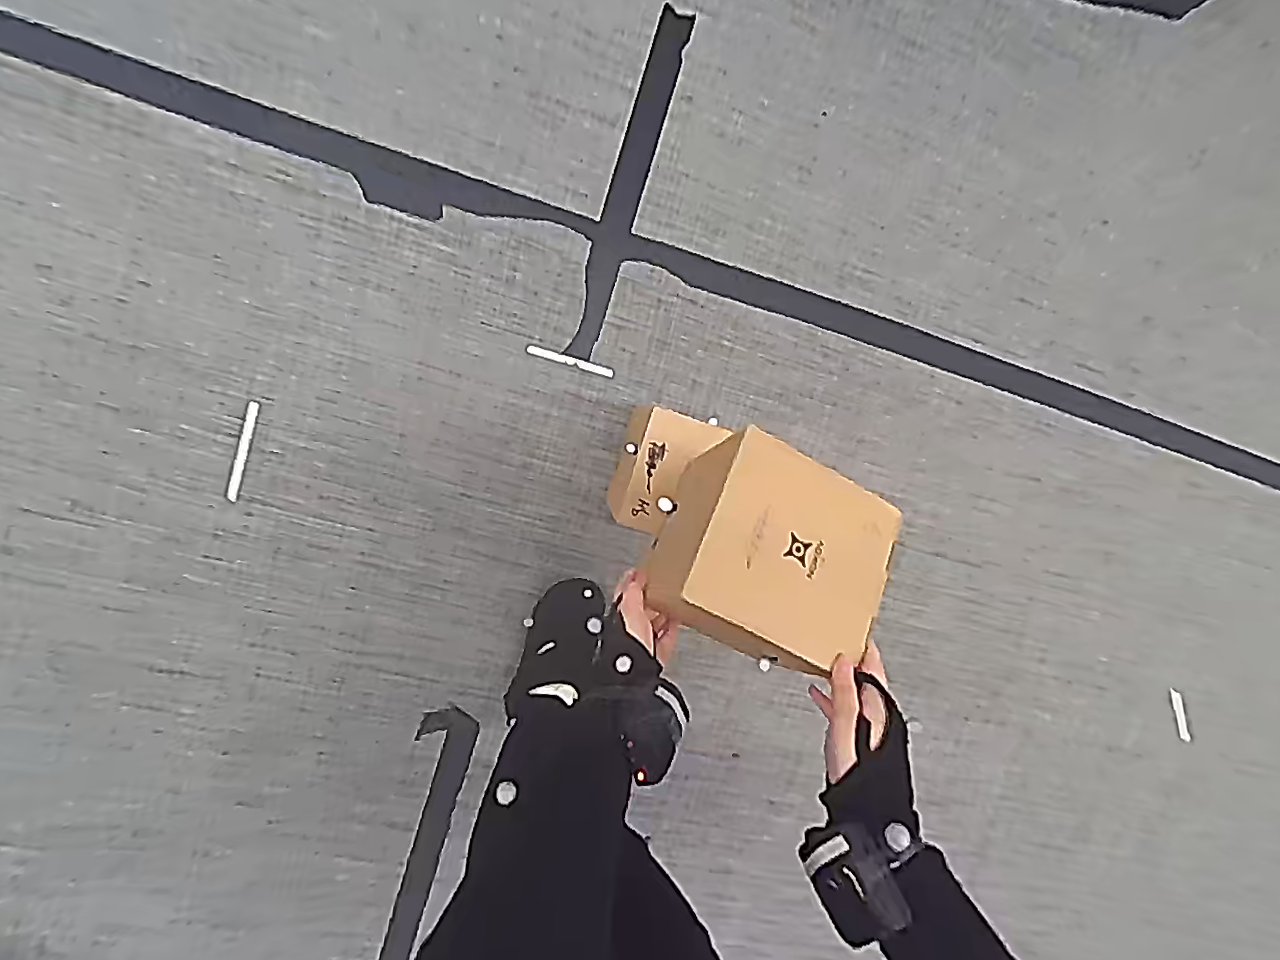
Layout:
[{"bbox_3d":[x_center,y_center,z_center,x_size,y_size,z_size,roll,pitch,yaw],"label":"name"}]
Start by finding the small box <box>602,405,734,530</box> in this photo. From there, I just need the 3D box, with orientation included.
[{"bbox_3d":[0.055,-0.010,0.796,0.179,0.176,0.168,18,95,-12],"label":"small box"}]

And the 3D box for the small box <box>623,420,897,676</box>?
[{"bbox_3d":[0.108,0.070,0.535,0.179,0.176,0.168,28,72,-10],"label":"small box"}]
